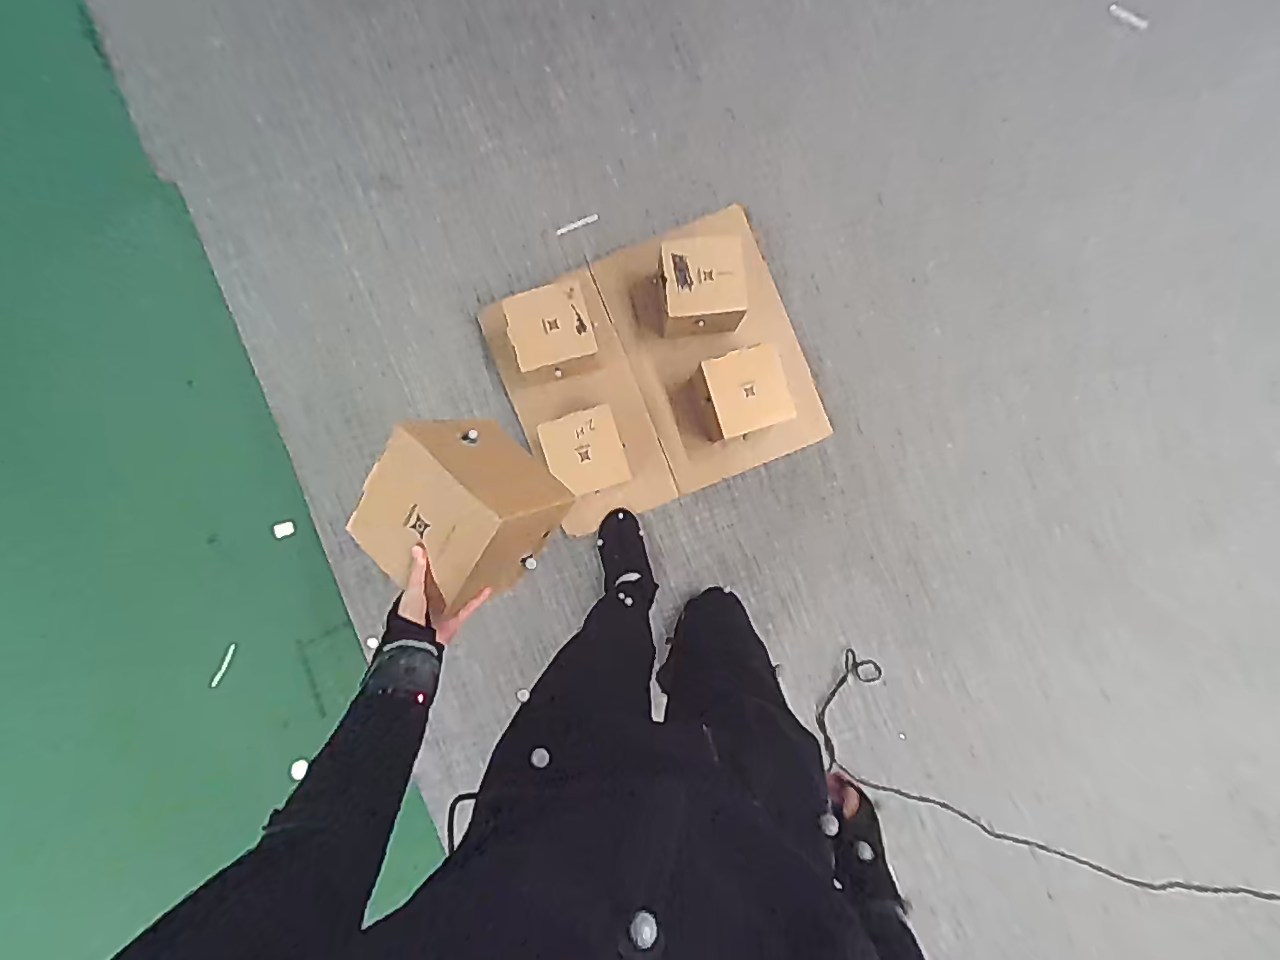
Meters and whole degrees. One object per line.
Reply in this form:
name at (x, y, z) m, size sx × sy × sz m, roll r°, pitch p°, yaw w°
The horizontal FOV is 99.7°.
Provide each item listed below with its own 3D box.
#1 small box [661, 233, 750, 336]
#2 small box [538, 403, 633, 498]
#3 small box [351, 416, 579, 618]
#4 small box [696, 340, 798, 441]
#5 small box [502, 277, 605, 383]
small box at (0.139, -0.431, 1.215) m, size 0.179 × 0.176 × 0.168 m, roll -5°, pitch 90°, yaw -1°
small box at (-0.114, -0.060, 1.222) m, size 0.168 × 0.176 × 0.179 m, roll -17°, pitch 90°, yaw 0°
small box at (-0.213, 0.038, 0.686) m, size 0.179 × 0.176 × 0.168 m, roll 42°, pitch 108°, yaw 13°
small box at (0.233, -0.191, 1.217) m, size 0.168 × 0.176 × 0.179 m, roll -18°, pitch 90°, yaw 0°
small box at (-0.188, -0.328, 1.222) m, size 0.179 × 0.176 × 0.168 m, roll -15°, pitch 90°, yaw 0°
